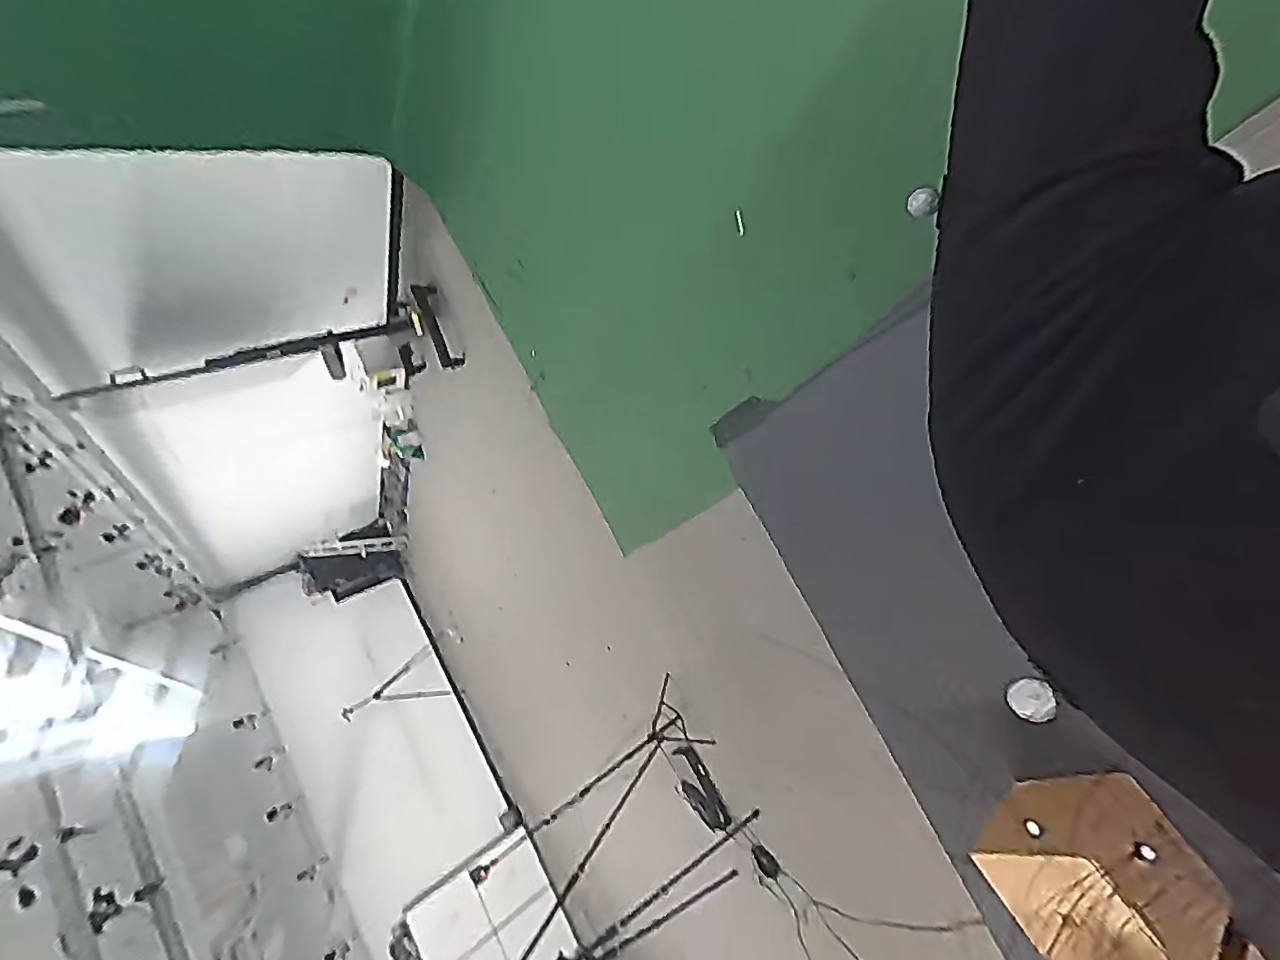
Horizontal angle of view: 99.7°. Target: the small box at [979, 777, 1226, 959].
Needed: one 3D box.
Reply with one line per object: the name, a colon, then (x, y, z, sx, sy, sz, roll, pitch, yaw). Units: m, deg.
small box: (0.605, 0.519, 0.711, 0.168, 0.176, 0.179, 56, 145, 18)
